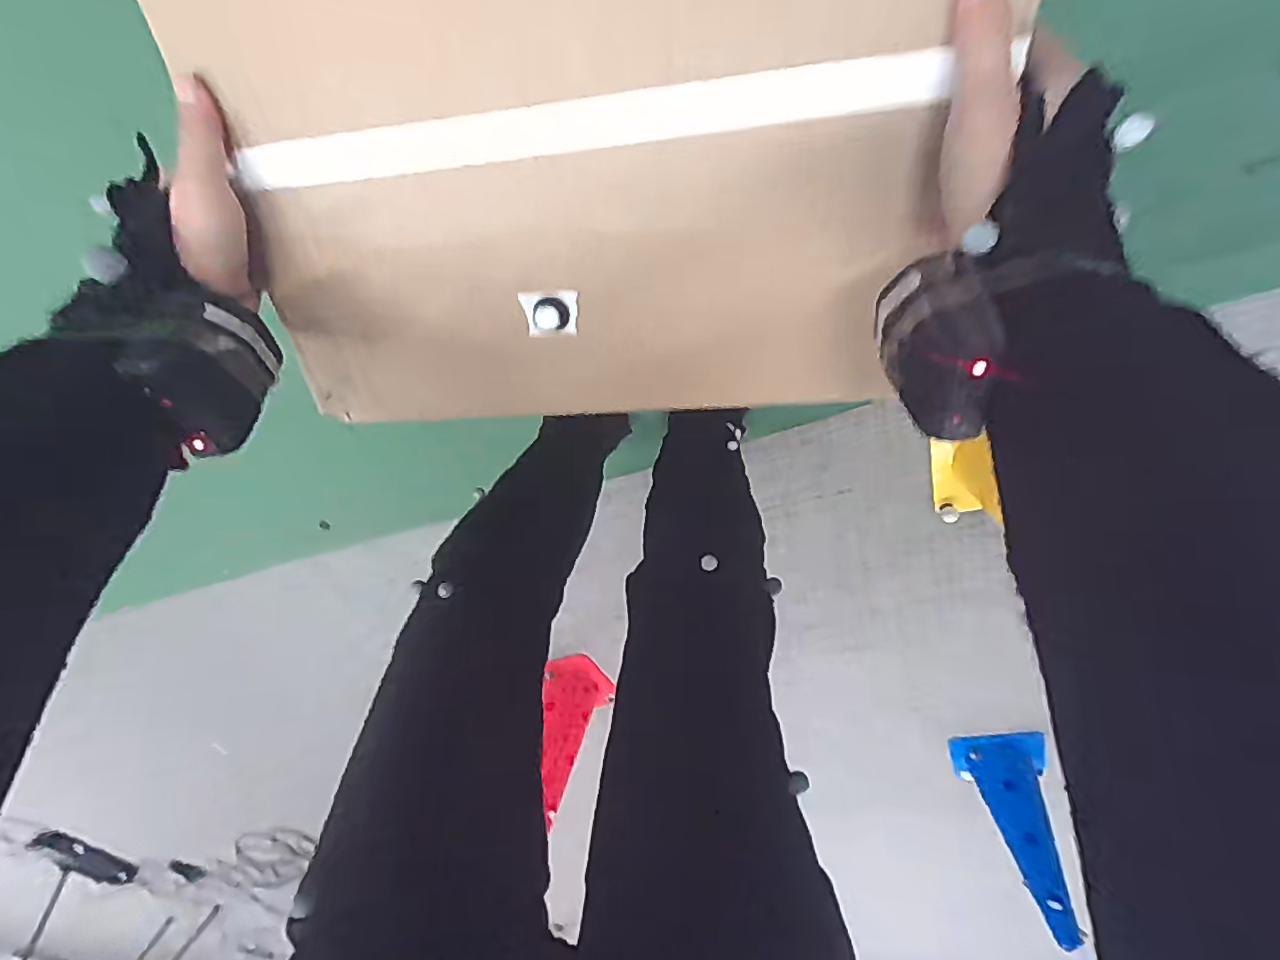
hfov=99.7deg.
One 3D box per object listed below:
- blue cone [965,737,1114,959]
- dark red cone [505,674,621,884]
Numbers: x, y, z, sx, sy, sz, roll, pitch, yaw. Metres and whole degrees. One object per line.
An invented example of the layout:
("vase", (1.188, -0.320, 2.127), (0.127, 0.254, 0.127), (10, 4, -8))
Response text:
("blue cone", (0.838, 0.746, 1.115), (0.192, 0.380, 0.193), (-16, 122, 19))
("dark red cone", (-0.193, 0.618, 1.138), (0.202, 0.394, 0.201), (-23, 117, 23))
